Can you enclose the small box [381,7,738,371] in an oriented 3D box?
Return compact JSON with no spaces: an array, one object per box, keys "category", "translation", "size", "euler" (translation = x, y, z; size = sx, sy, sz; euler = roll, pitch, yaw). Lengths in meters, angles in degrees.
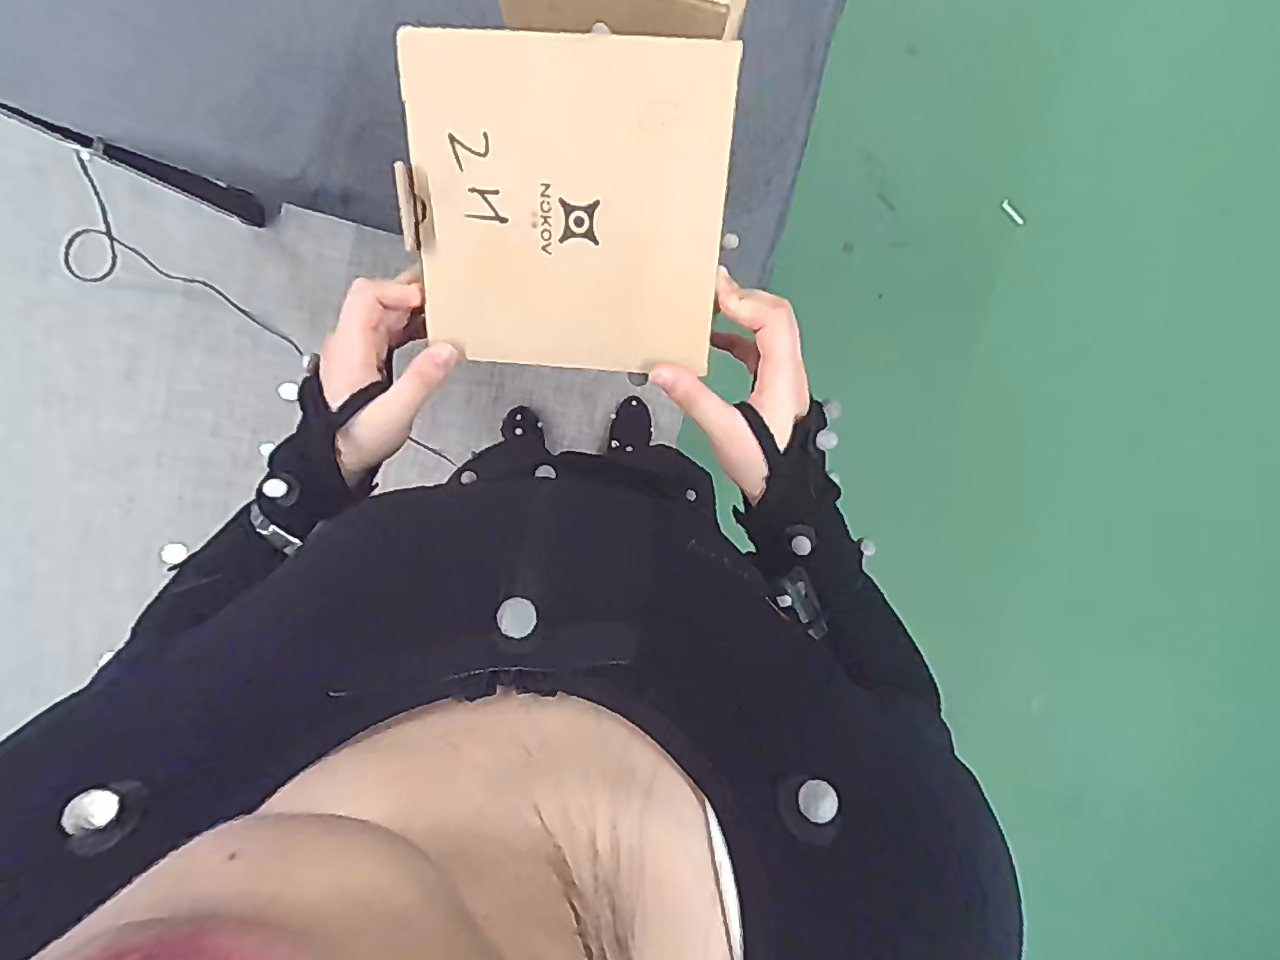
[{"category":"small box","translation":[-0.037,-0.178,0.360],"size":[0.179,0.176,0.168],"euler":[6,114,5]}]
